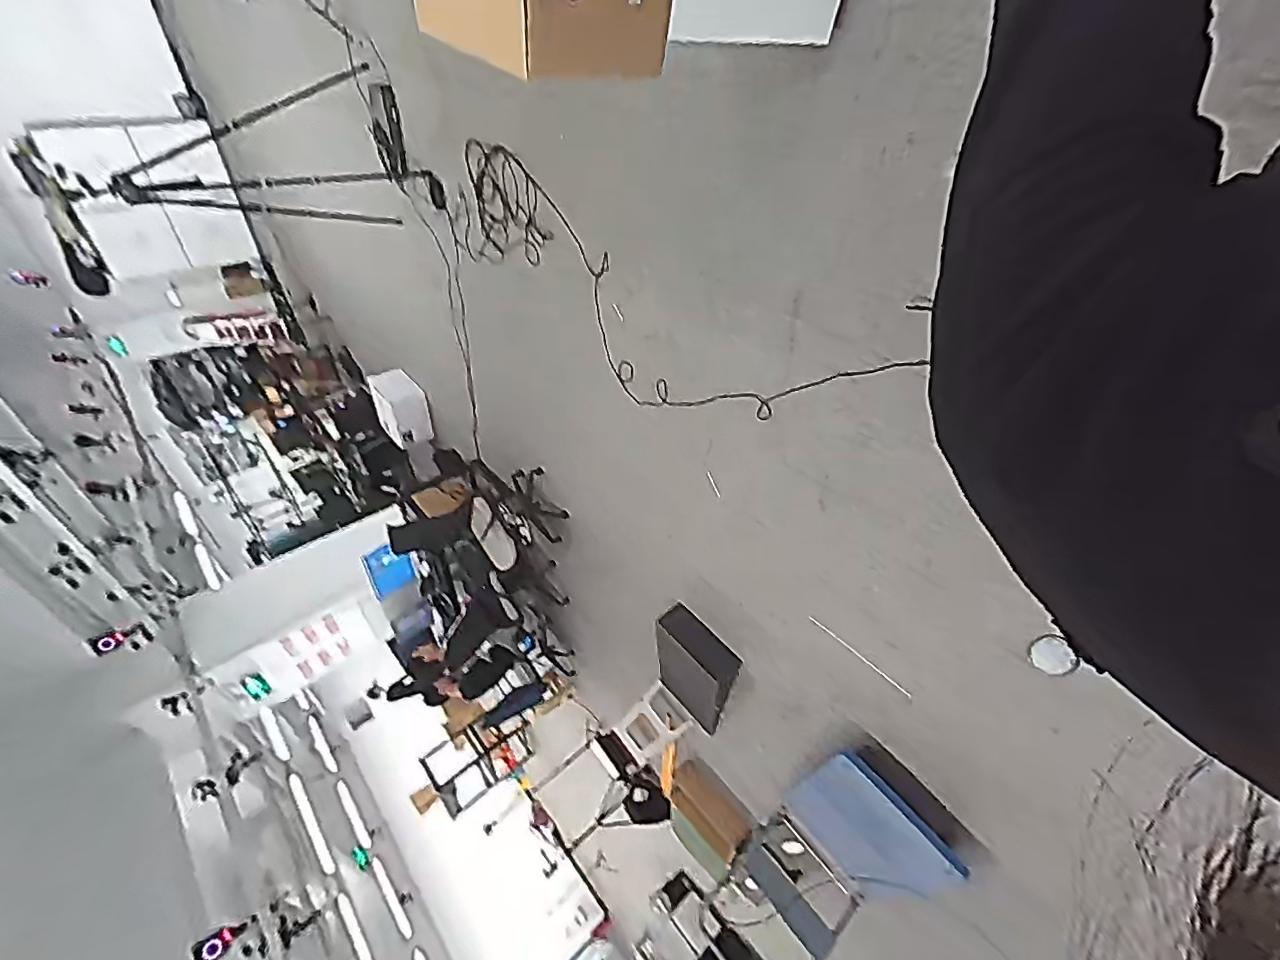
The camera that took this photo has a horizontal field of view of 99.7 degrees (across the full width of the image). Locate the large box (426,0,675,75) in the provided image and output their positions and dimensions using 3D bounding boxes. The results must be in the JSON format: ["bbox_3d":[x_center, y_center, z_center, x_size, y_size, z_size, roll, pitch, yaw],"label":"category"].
[{"bbox_3d":[-0.169,-0.964,0.974,0.408,0.320,0.320,43,144,29],"label":"large box"}]
